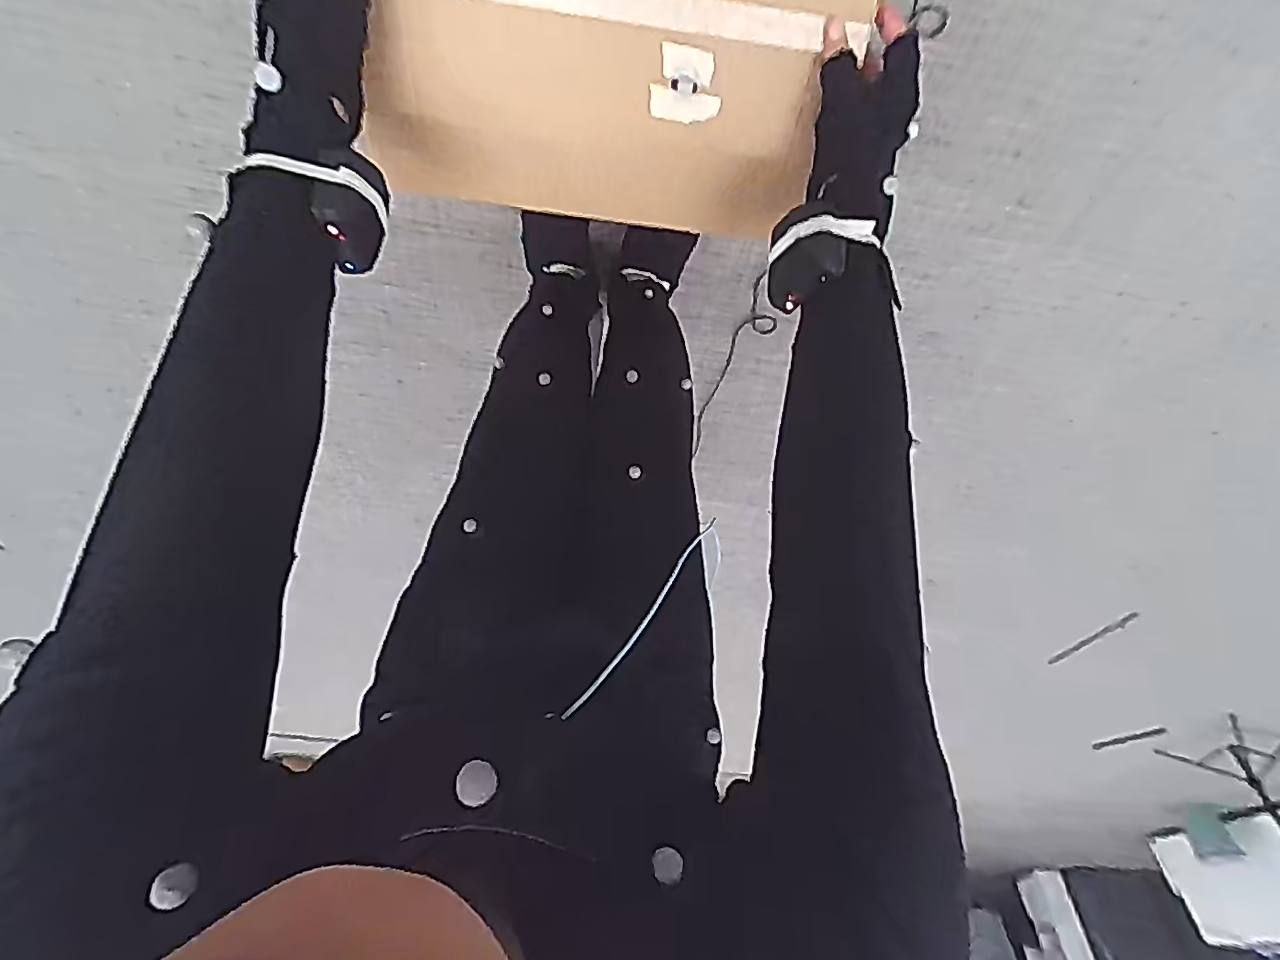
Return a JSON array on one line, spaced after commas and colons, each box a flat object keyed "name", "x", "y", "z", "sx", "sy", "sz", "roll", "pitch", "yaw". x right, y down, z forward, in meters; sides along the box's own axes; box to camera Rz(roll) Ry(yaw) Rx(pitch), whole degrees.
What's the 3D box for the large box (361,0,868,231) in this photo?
[{"name": "large box", "x": -0.022, "y": -0.473, "z": 0.536, "sx": 0.408, "sy": 0.320, "sz": 0.320, "roll": 5, "pitch": 132, "yaw": -5}]
